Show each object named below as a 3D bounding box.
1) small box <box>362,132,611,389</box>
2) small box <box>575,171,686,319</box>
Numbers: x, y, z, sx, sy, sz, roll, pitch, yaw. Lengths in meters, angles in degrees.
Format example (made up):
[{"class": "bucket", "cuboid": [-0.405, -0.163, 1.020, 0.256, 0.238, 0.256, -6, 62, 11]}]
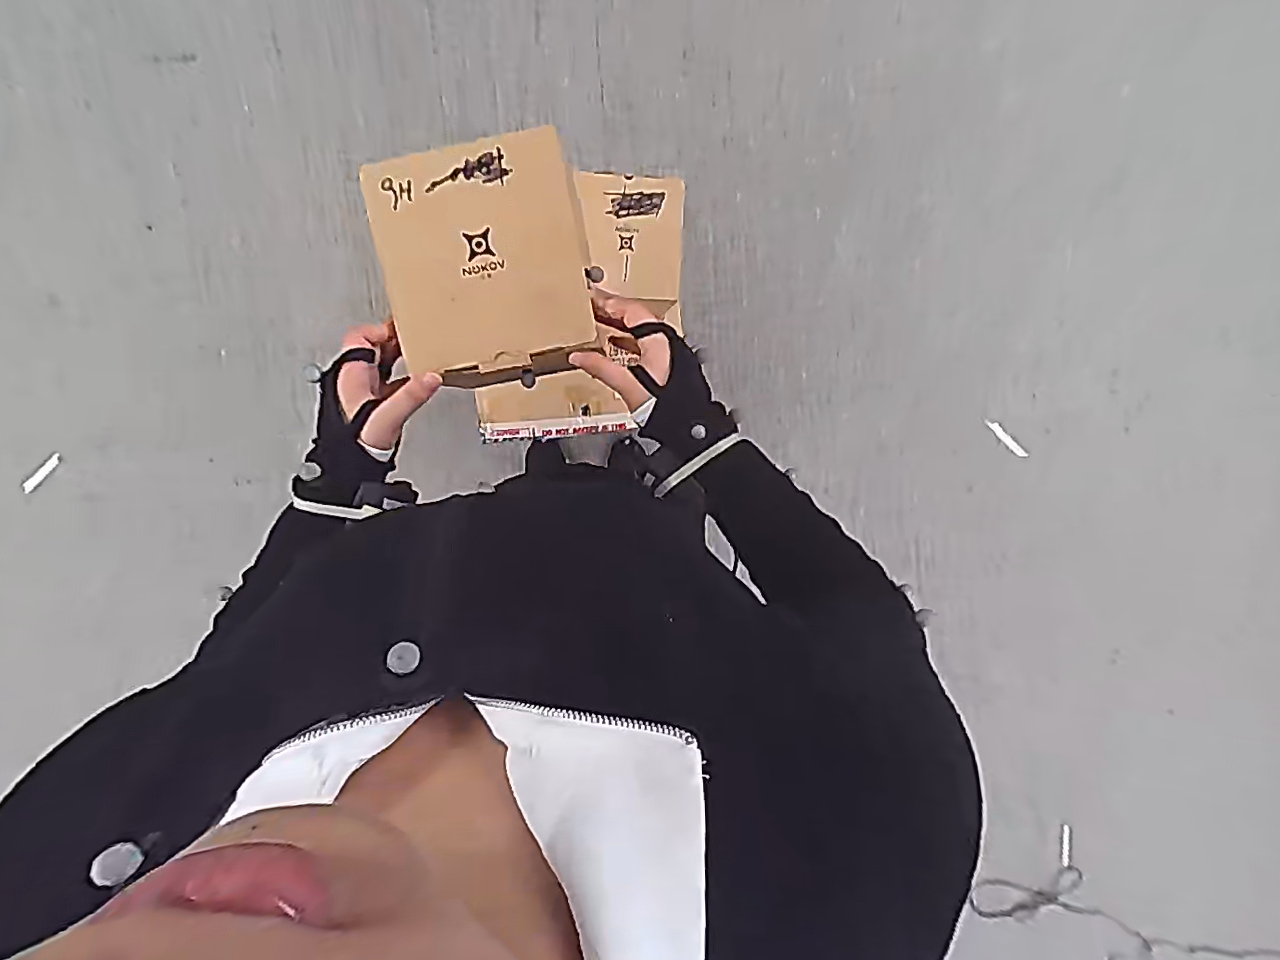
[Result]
[{"class": "small box", "cuboid": [-0.126, -0.188, 0.519, 0.168, 0.176, 0.179, -11, 98, 2]}, {"class": "small box", "cuboid": [-0.027, -0.365, 0.872, 0.168, 0.176, 0.179, 1, 99, -7]}]
